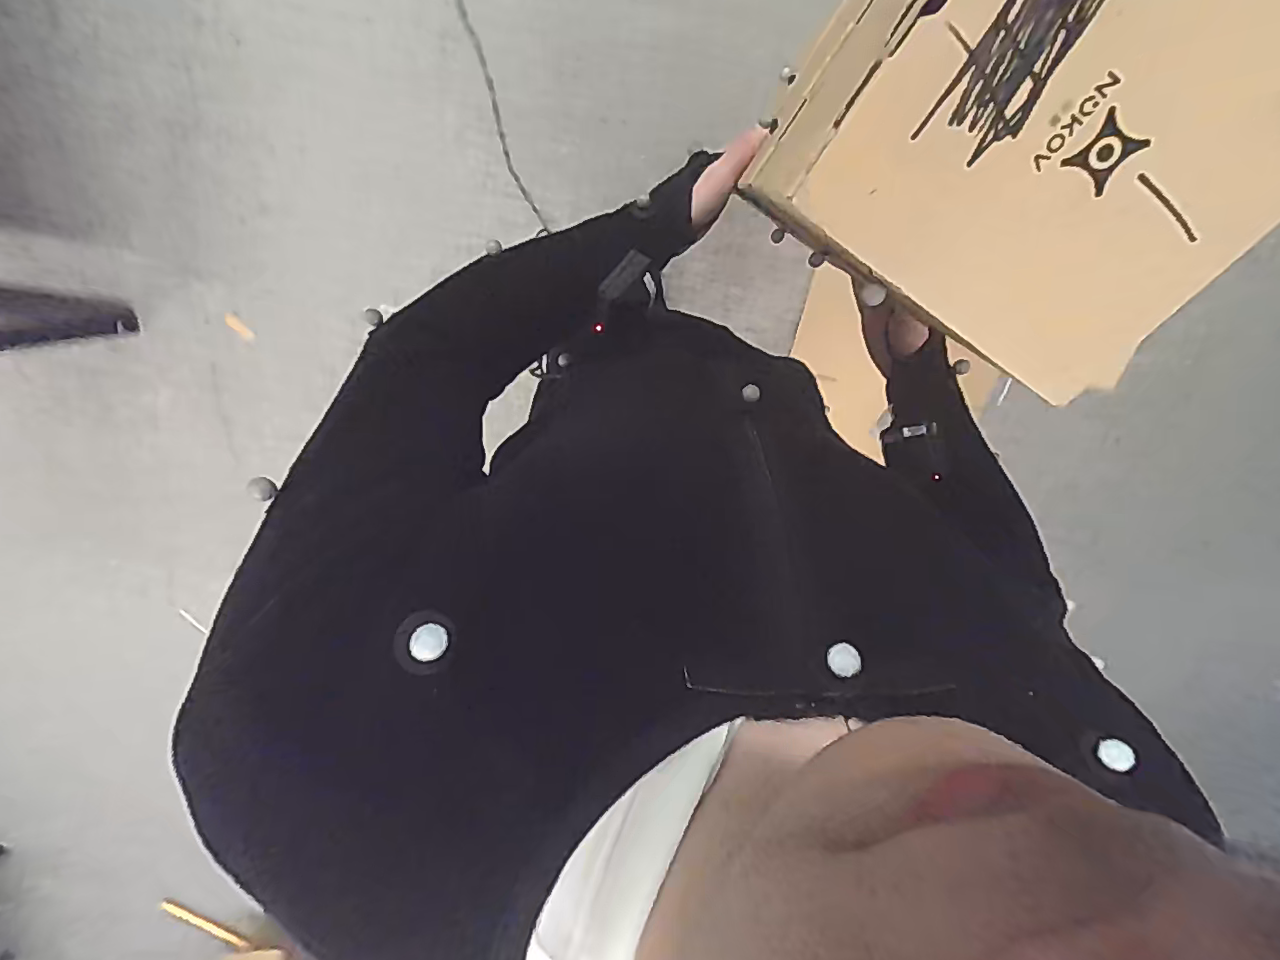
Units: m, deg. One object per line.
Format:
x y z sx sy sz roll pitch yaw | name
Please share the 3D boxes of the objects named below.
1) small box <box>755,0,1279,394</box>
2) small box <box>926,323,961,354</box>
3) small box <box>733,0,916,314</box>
0.178 -0.180 0.282 0.179 0.176 0.168 29 120 -12 | small box
0.885 -0.418 1.414 0.168 0.176 0.179 12 112 -5 | small box
0.189 -0.262 0.423 0.179 0.176 0.168 31 119 -12 | small box
